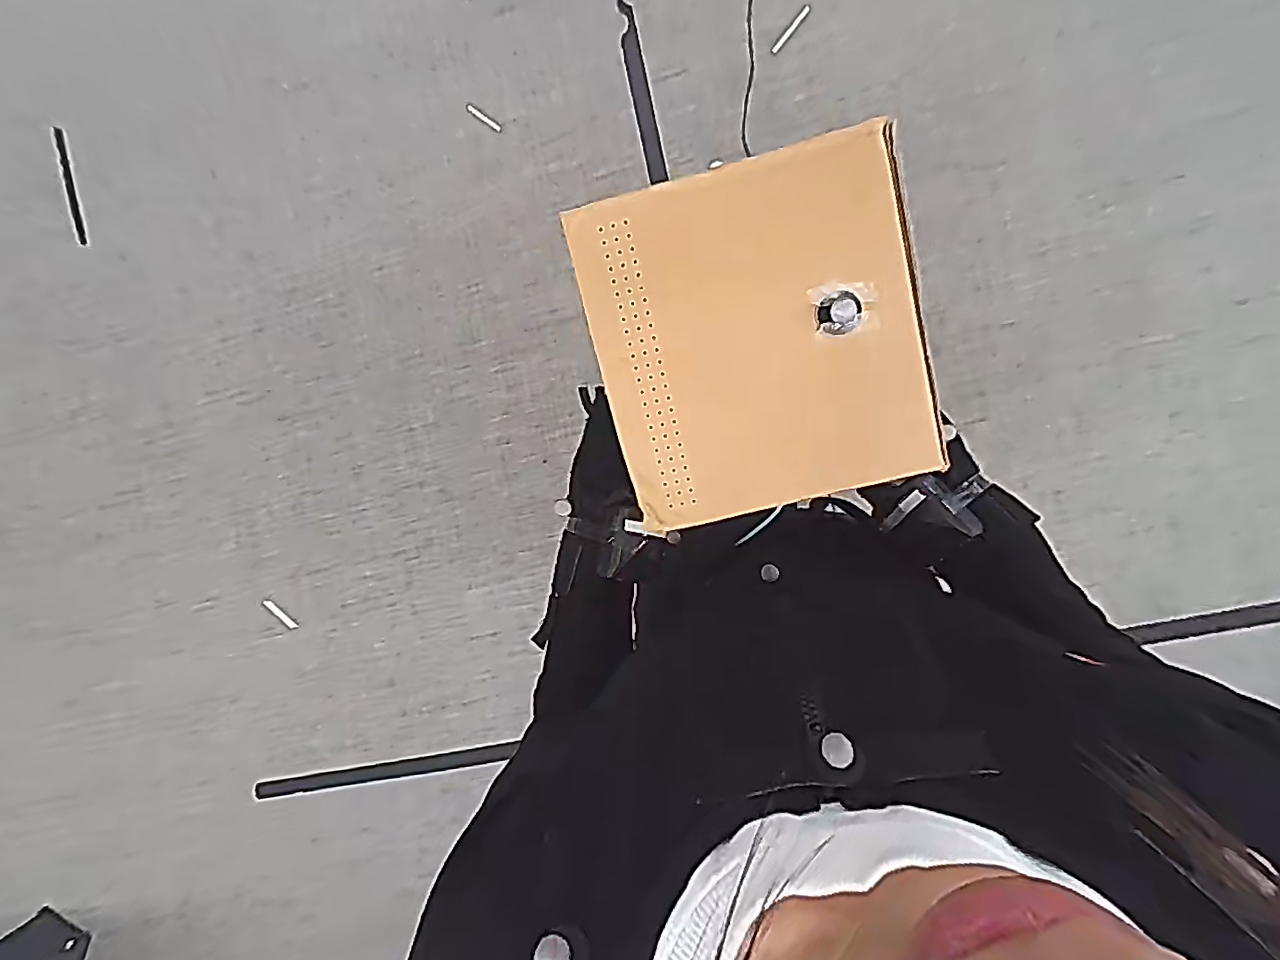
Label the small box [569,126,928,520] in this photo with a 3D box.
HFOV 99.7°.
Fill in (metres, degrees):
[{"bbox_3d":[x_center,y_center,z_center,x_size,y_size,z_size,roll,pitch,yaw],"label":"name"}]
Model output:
[{"bbox_3d":[0.061,-0.089,0.367,0.176,0.168,0.179,-13,100,7],"label":"small box"}]
